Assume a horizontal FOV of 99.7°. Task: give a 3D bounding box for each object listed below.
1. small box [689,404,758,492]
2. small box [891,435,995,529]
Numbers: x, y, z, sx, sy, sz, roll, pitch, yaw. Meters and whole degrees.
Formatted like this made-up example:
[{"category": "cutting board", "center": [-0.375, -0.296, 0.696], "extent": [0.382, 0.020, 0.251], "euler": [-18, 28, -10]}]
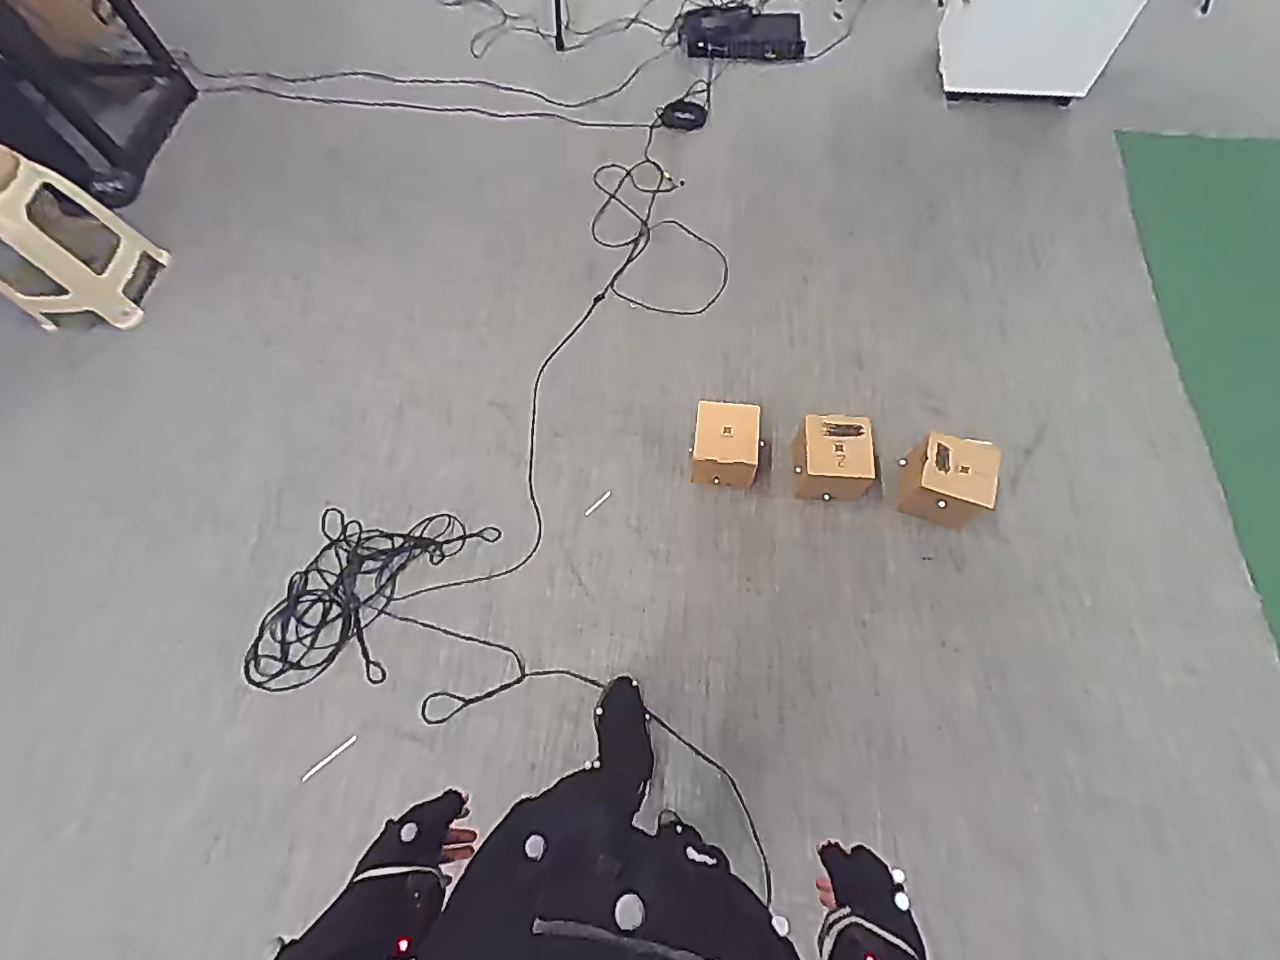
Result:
[{"category": "small box", "center": [0.225, -0.086, 1.482], "extent": [0.168, 0.176, 0.179], "euler": [5, 67, 5]}, {"category": "small box", "center": [0.783, 0.011, 1.410], "extent": [0.179, 0.176, 0.168], "euler": [19, 68, 9]}]
